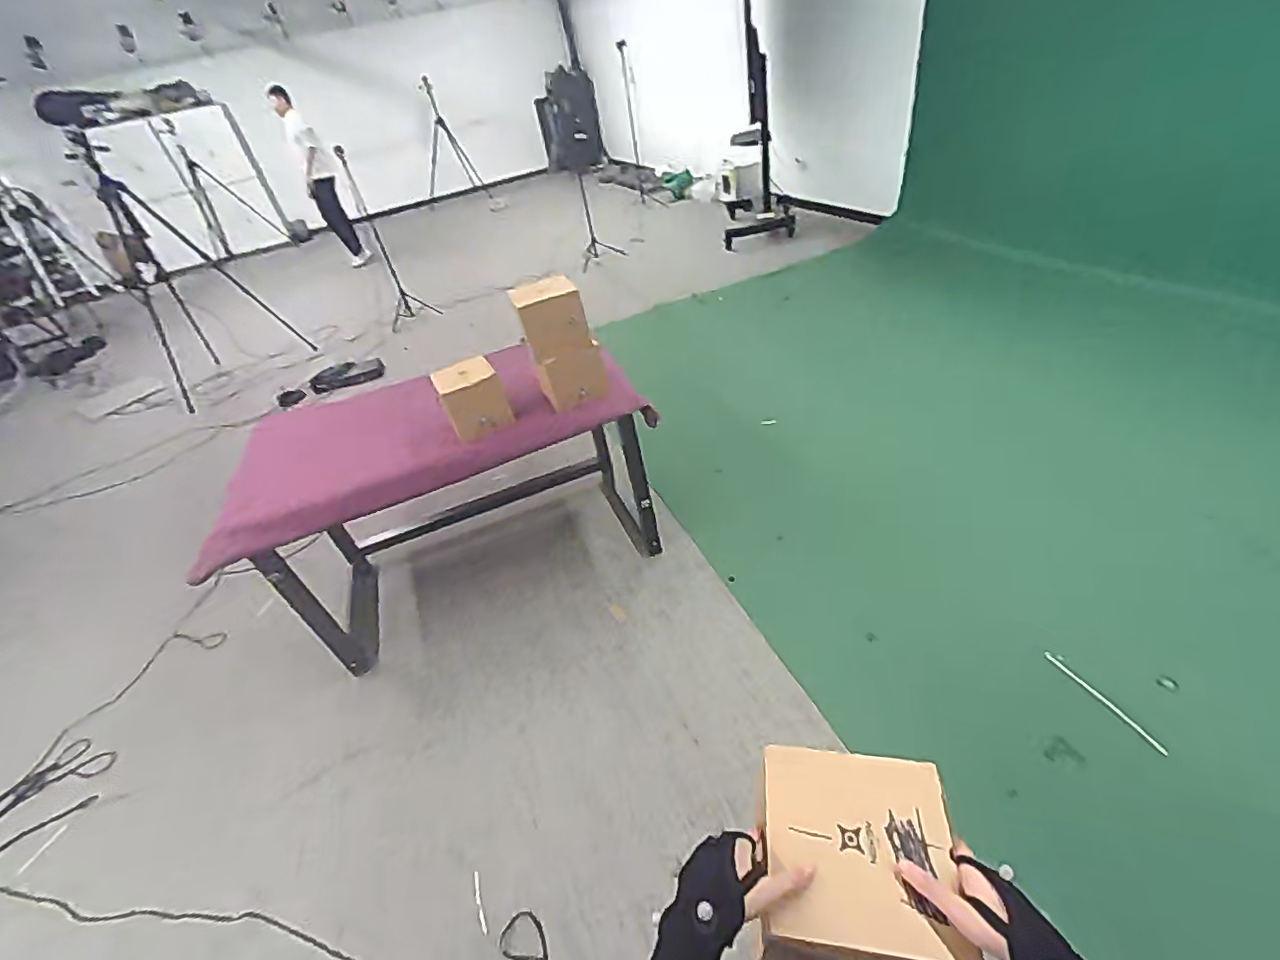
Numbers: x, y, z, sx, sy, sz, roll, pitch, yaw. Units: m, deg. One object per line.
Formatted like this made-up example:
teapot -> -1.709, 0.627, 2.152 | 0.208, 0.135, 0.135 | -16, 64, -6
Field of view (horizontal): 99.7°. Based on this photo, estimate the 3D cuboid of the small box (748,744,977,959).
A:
small box -> 0.207, 0.402, 0.559 | 0.179, 0.176, 0.168 | 3, 40, 10

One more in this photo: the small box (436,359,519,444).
small box -> -0.479, -0.232, 1.601 | 0.168, 0.176, 0.179 | -26, 39, -15

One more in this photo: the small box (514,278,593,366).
small box -> -0.241, -0.450, 1.541 | 0.179, 0.176, 0.168 | -21, 39, -8

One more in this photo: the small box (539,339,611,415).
small box -> -0.199, -0.325, 1.638 | 0.179, 0.176, 0.168 | -24, 39, -14
